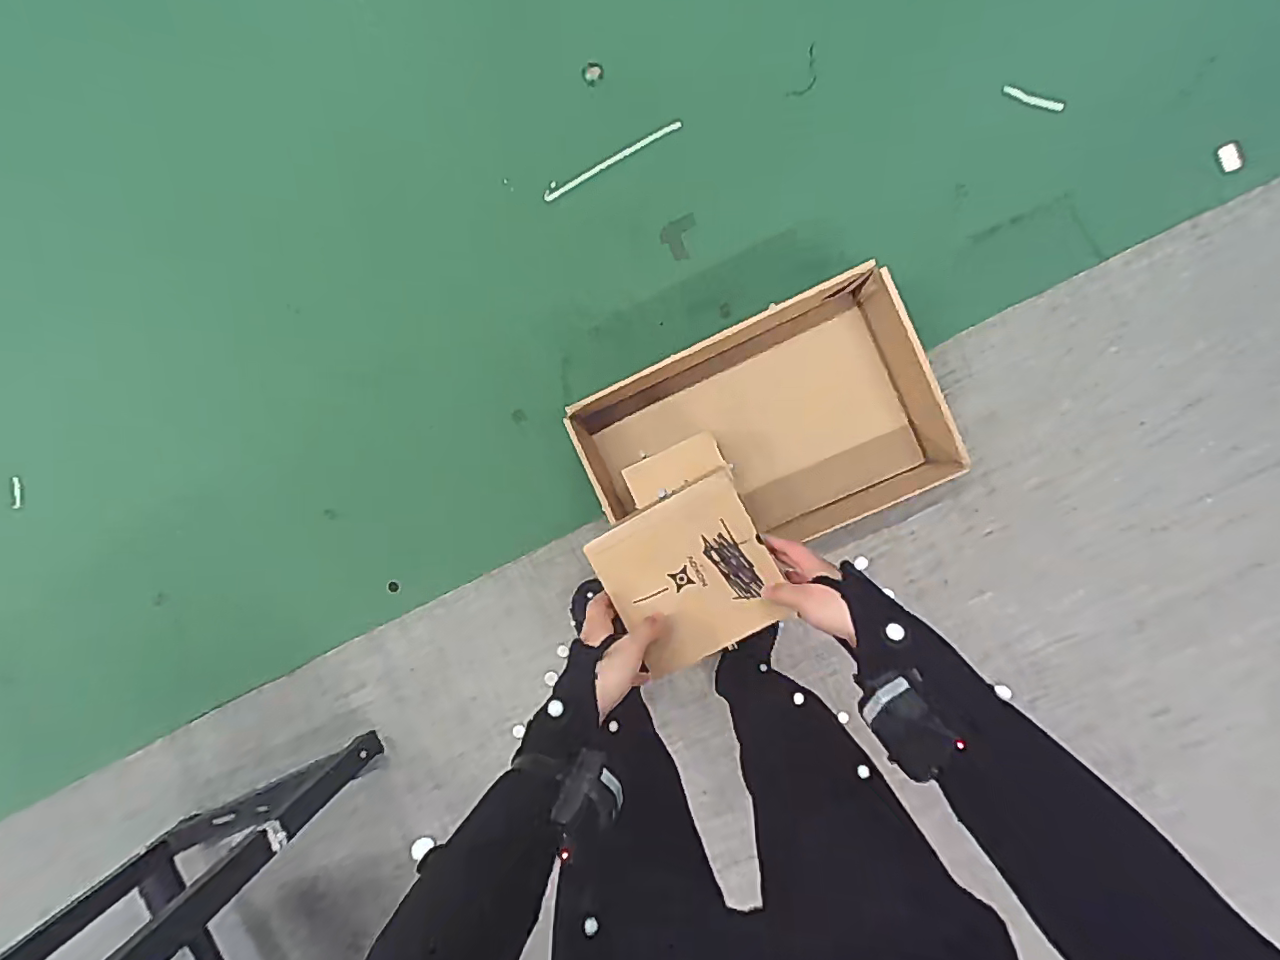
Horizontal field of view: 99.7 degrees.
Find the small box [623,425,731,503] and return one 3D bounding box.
[{"bbox_3d":[0.086,0.008,1.014,0.179,0.176,0.168,-25,93,5],"label":"small box"}]

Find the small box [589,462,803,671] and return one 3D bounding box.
[{"bbox_3d":[0.065,0.087,0.642,0.179,0.176,0.168,-29,90,9],"label":"small box"}]
